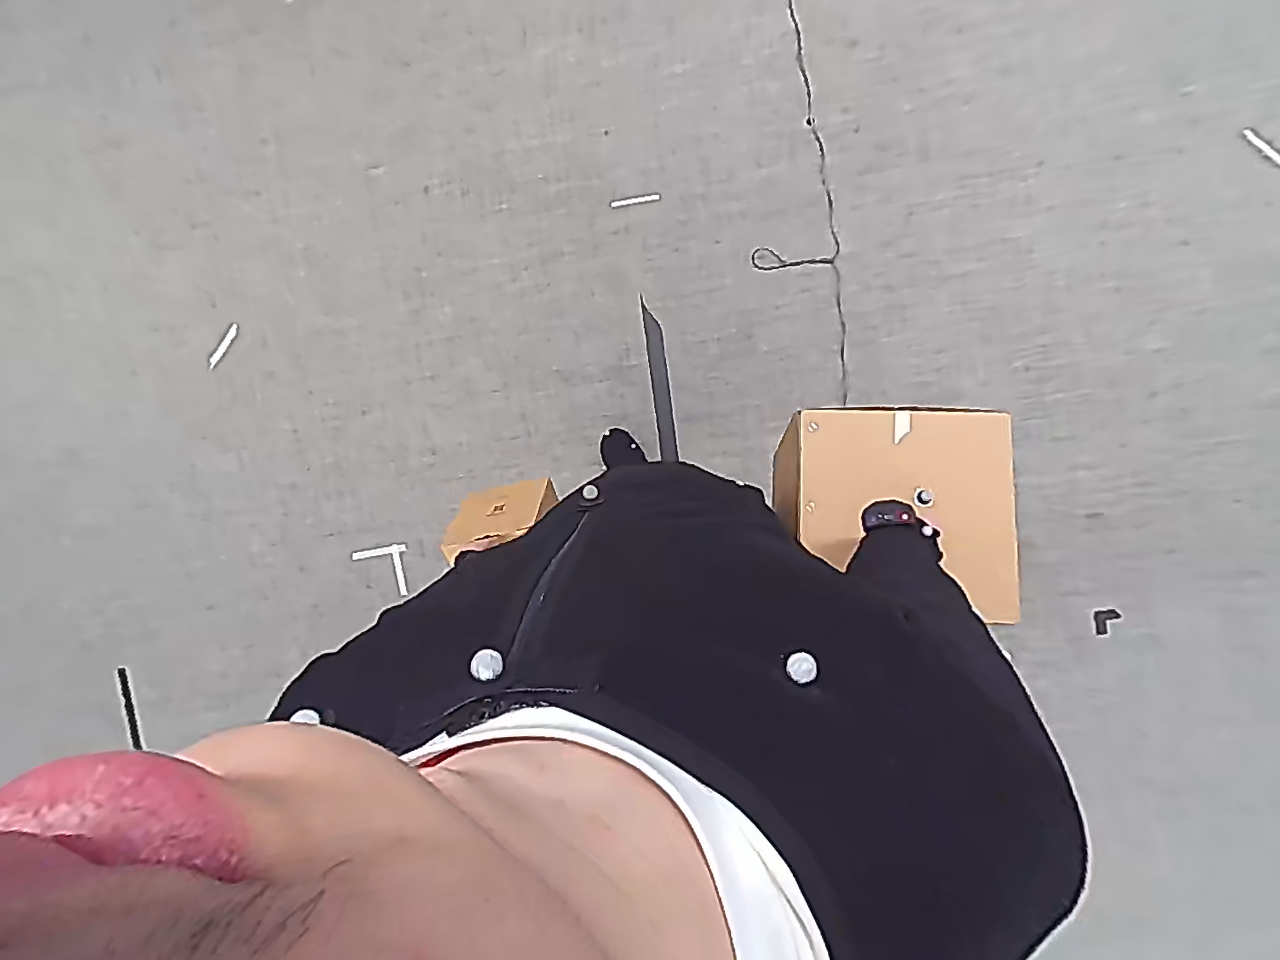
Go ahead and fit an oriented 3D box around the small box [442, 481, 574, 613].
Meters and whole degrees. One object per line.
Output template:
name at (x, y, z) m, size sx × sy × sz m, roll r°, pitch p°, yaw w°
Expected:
small box at (-0.231, 0.129, 1.001) m, size 0.168 × 0.179 × 0.176 m, roll -12°, pitch 116°, yaw 8°
